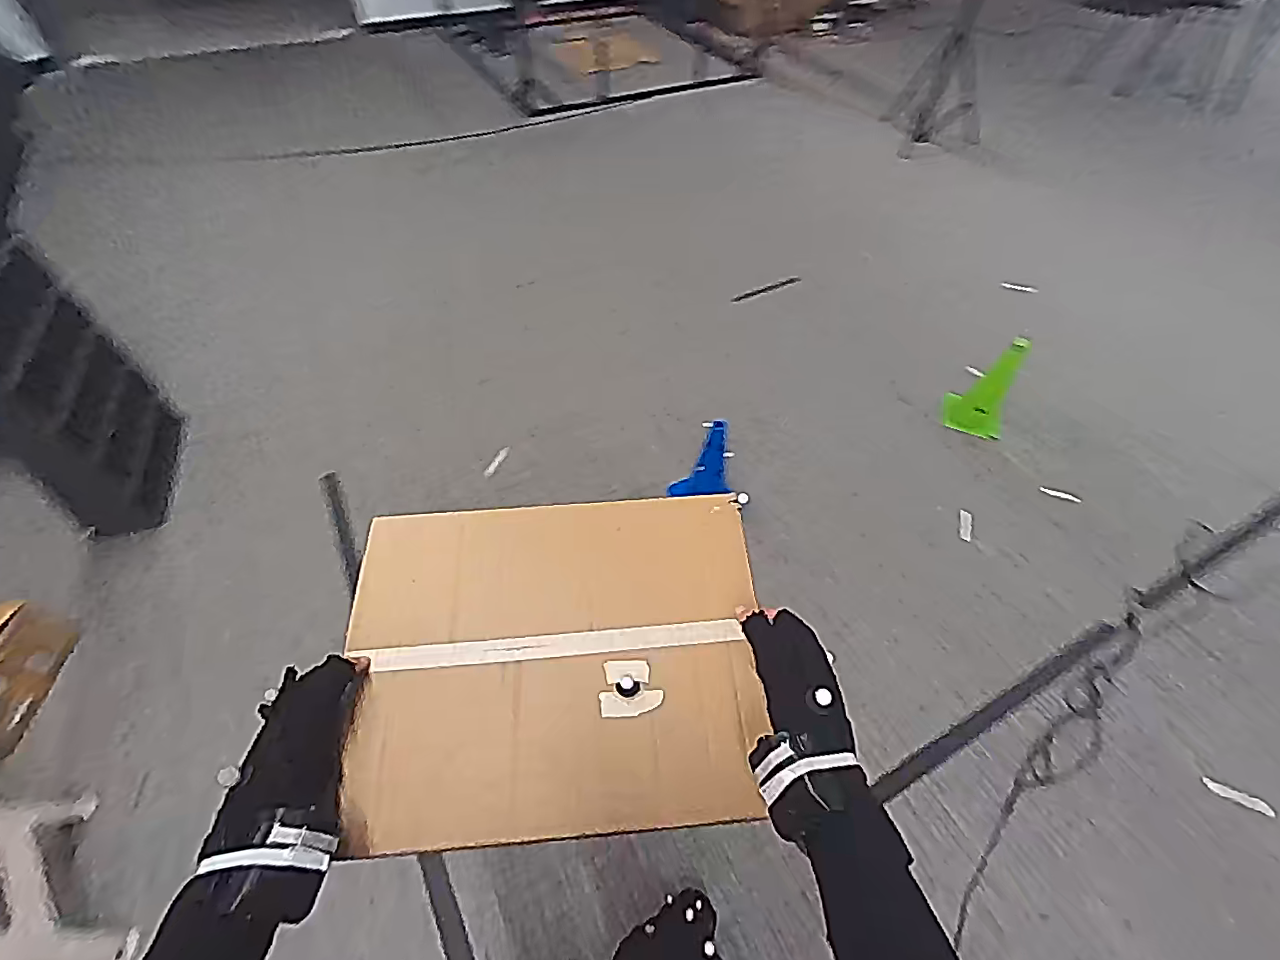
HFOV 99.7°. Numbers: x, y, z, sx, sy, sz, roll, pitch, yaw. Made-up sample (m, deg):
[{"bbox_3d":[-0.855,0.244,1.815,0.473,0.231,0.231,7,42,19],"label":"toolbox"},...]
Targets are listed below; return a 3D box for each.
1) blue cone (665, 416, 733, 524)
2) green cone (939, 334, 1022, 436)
[{"bbox_3d":[0.203,-0.047,1.690,0.193,0.380,0.192,-20,54,-16],"label":"blue cone"},{"bbox_3d":[1.260,-0.365,1.941,0.202,0.368,0.200,19,53,15],"label":"green cone"}]
